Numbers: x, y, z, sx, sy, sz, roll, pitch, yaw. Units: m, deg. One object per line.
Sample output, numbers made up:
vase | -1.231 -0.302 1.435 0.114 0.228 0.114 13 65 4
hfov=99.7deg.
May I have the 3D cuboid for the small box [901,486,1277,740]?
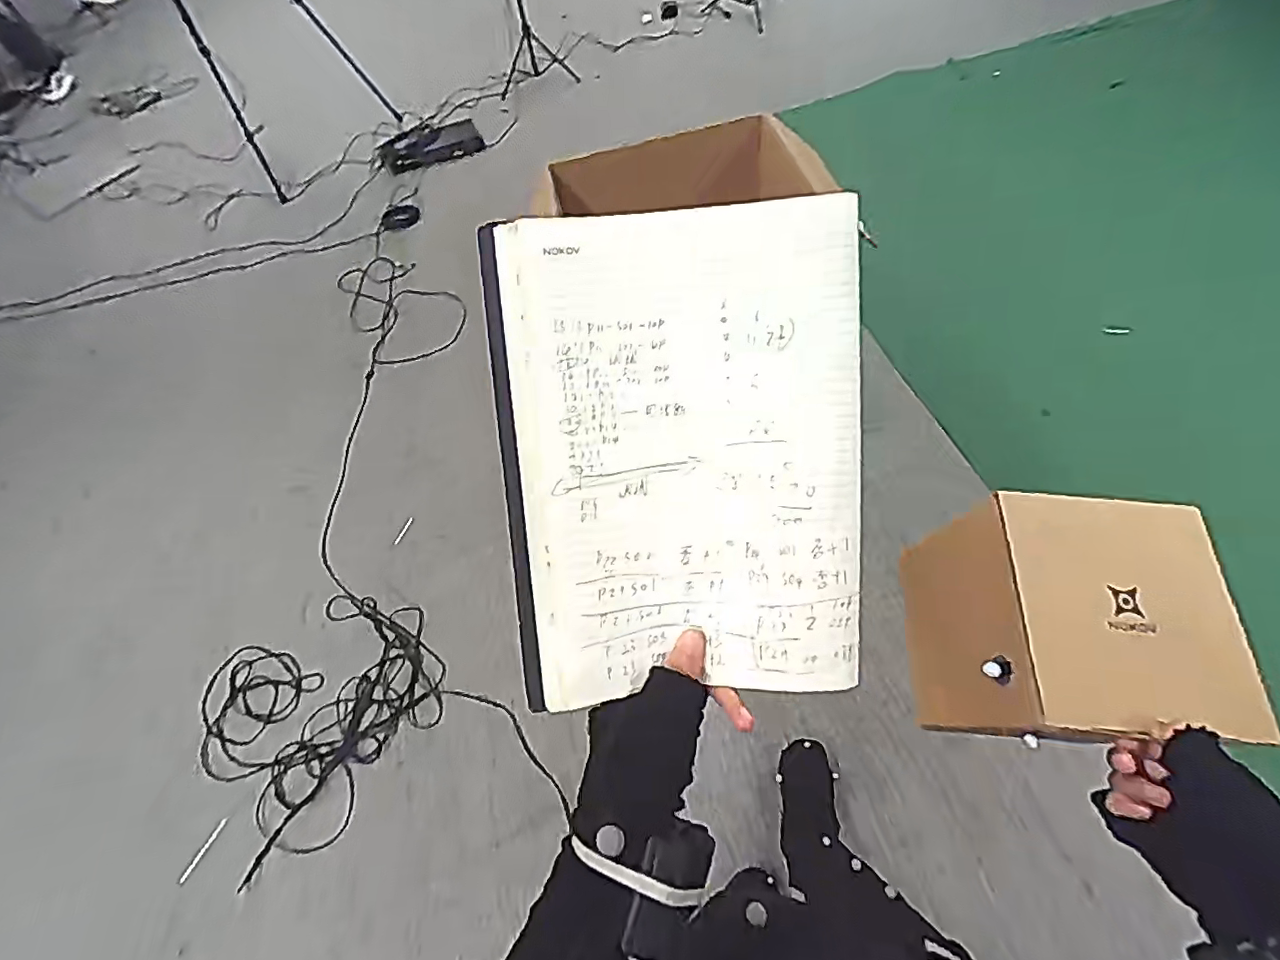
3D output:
small box | 0.352 0.123 0.471 0.168 0.176 0.179 5 65 -1
